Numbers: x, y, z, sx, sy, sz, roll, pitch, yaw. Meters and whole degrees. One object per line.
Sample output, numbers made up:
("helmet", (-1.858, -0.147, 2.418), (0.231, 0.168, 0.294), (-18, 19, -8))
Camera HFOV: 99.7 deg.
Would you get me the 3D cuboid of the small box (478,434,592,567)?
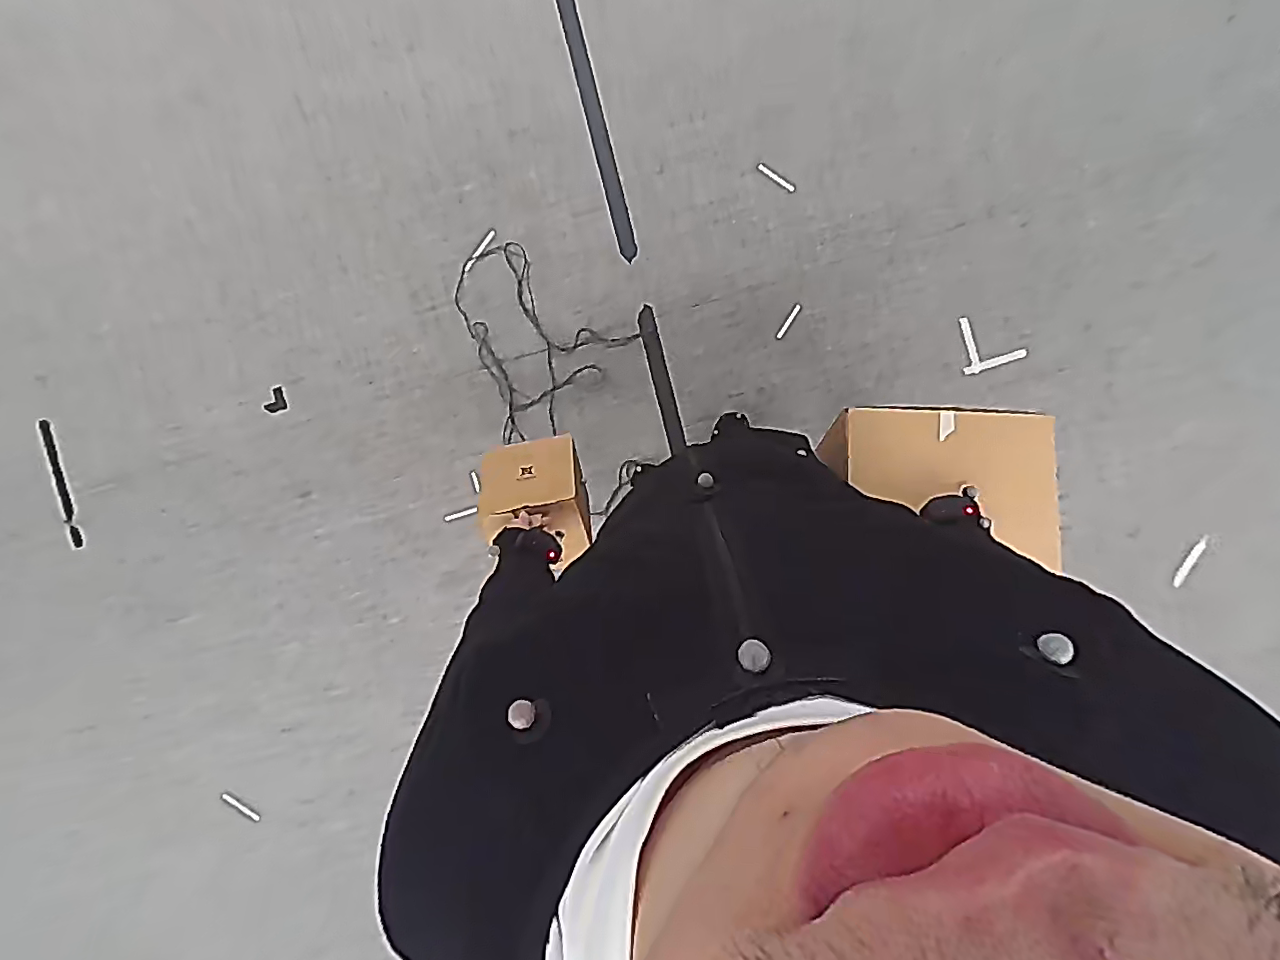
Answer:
("small box", (-0.187, 0.044, 0.996), (0.168, 0.179, 0.176), (-10, 133, -2))
